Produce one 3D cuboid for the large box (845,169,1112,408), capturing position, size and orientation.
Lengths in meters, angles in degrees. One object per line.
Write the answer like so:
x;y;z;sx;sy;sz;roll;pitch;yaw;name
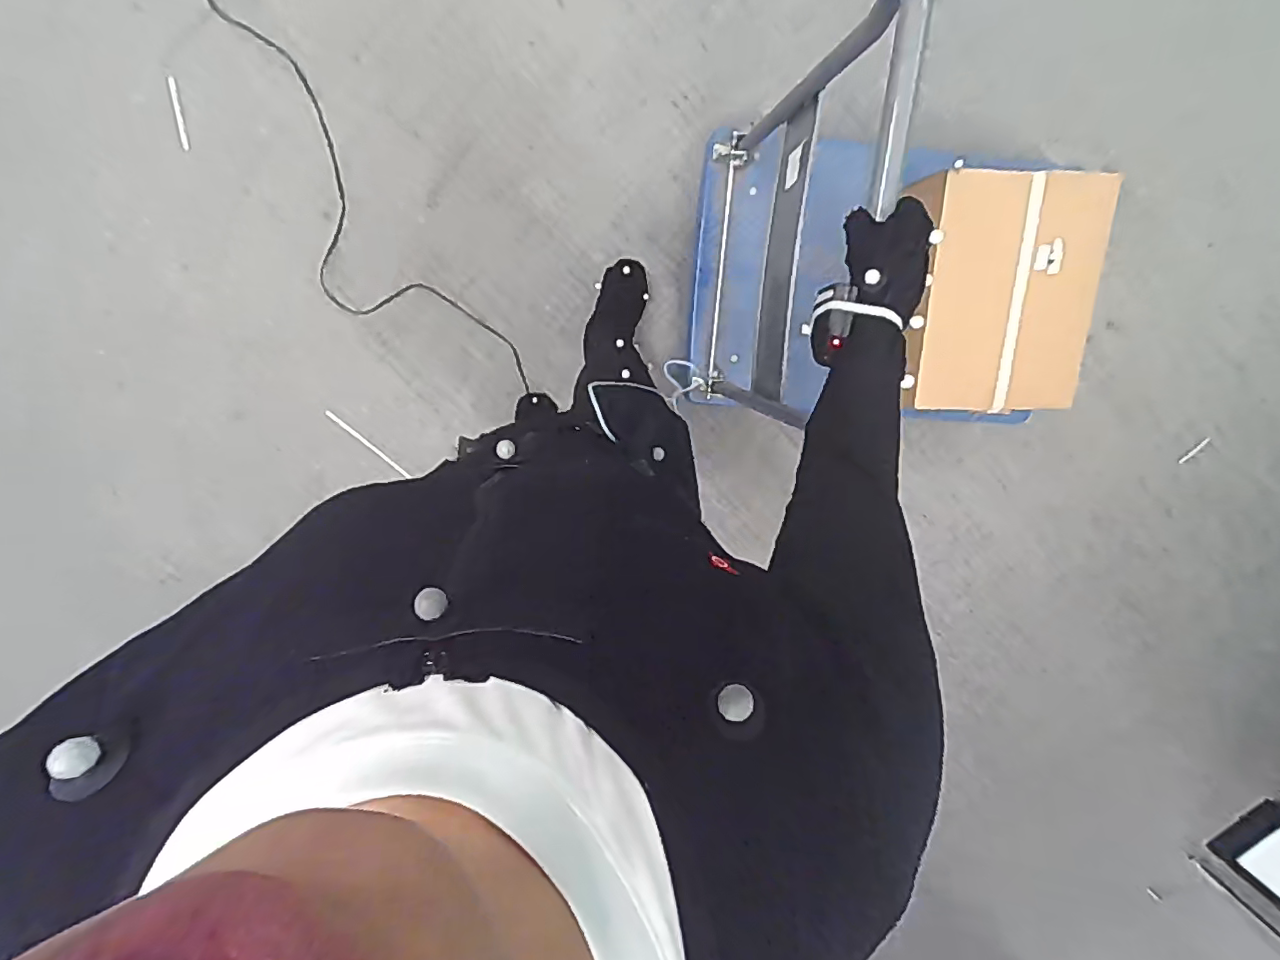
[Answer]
0.643;-0.365;1.102;0.320;0.320;0.408;-1;105;-5;large box
